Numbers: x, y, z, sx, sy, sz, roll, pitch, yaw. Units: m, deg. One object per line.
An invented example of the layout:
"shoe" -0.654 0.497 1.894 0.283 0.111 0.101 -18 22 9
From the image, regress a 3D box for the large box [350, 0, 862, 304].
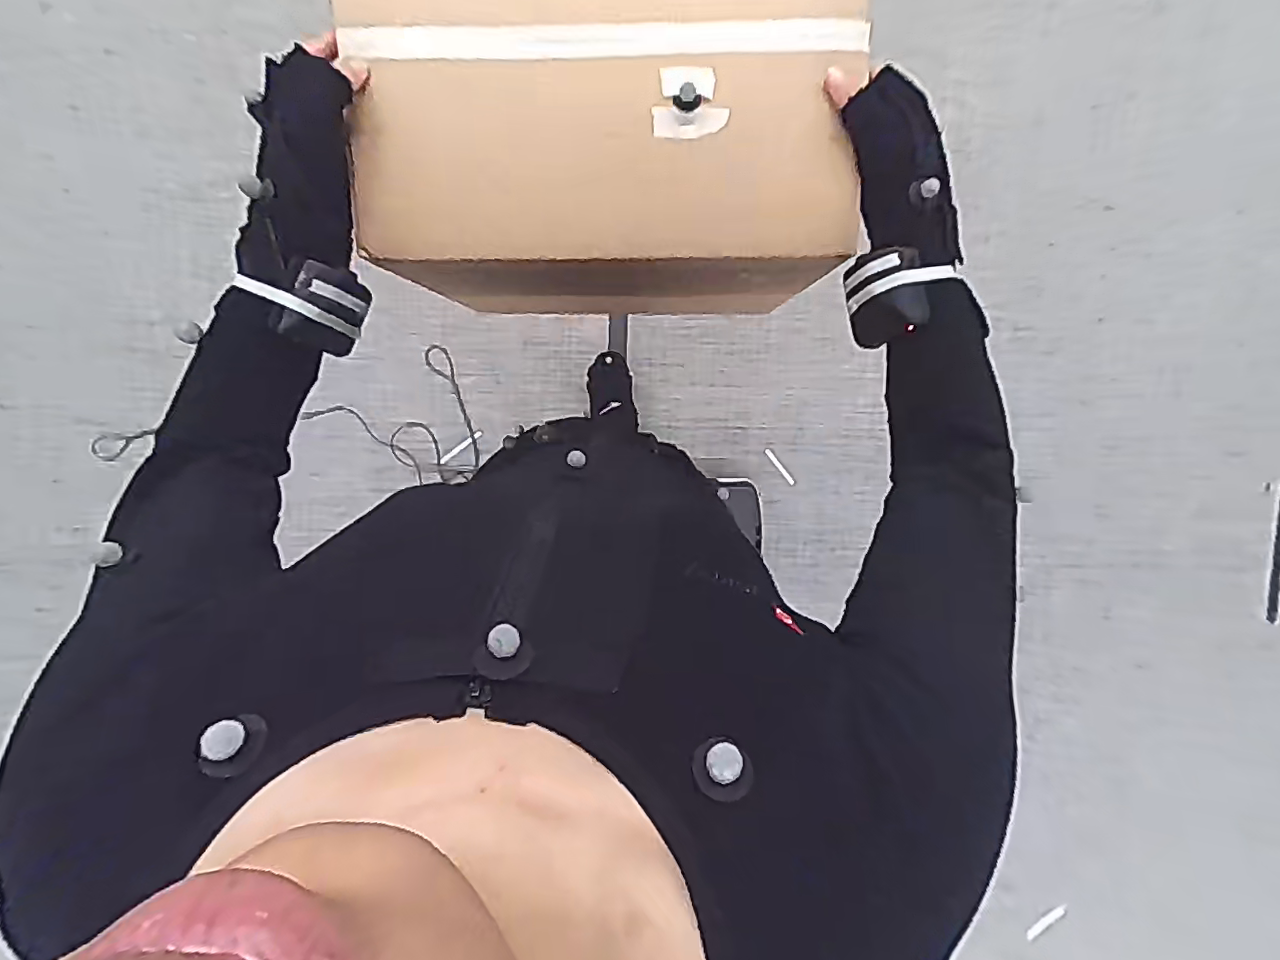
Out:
"large box" -0.027 -0.372 0.566 0.408 0.320 0.320 0 100 1
